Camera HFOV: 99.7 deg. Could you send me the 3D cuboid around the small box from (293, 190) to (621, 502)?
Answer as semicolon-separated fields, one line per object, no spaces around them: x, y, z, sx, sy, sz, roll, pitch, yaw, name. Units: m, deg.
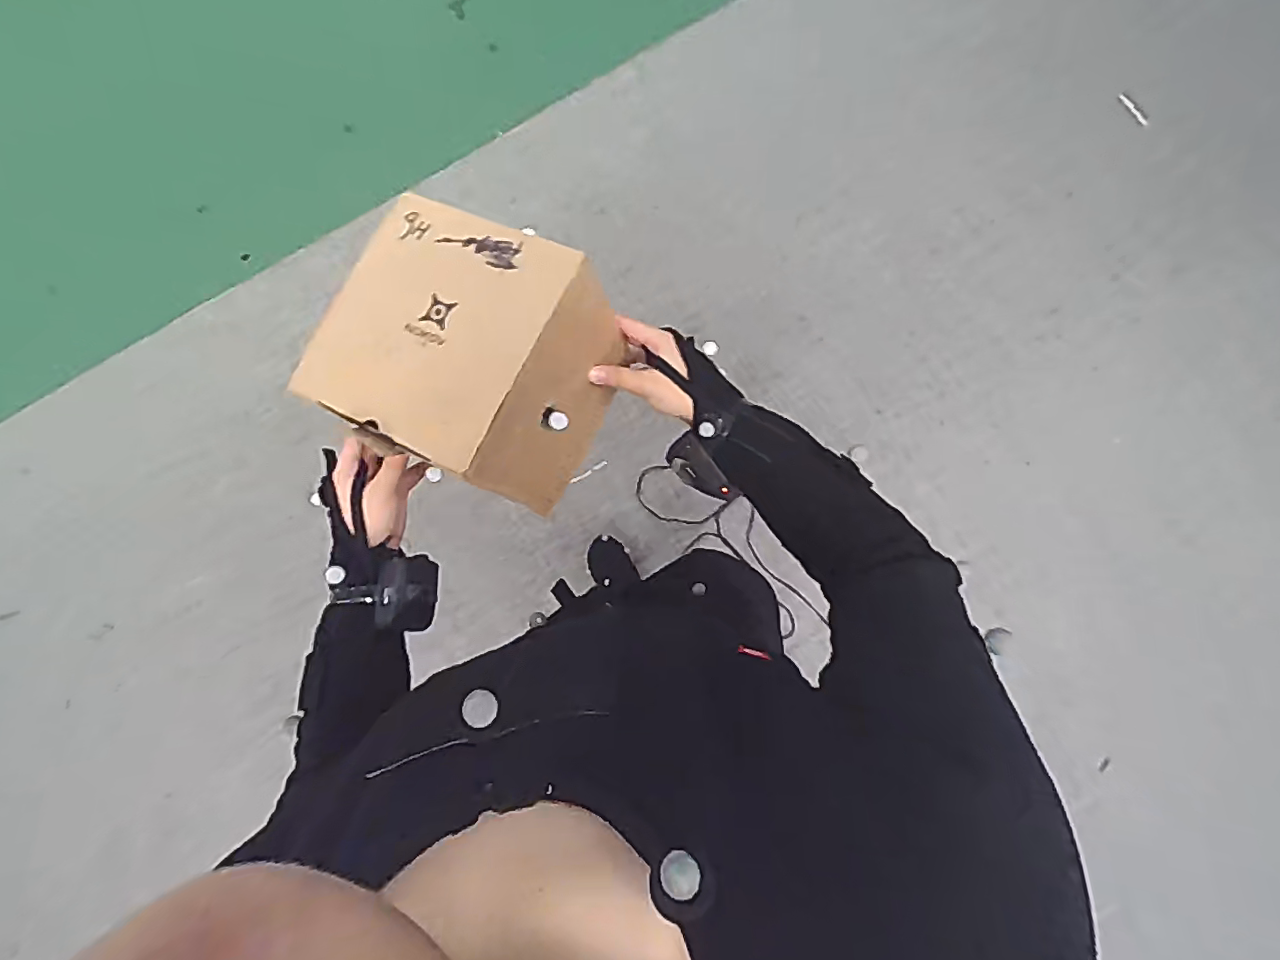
-0.133;-0.097;0.461;0.168;0.176;0.179;25;84;15;small box
